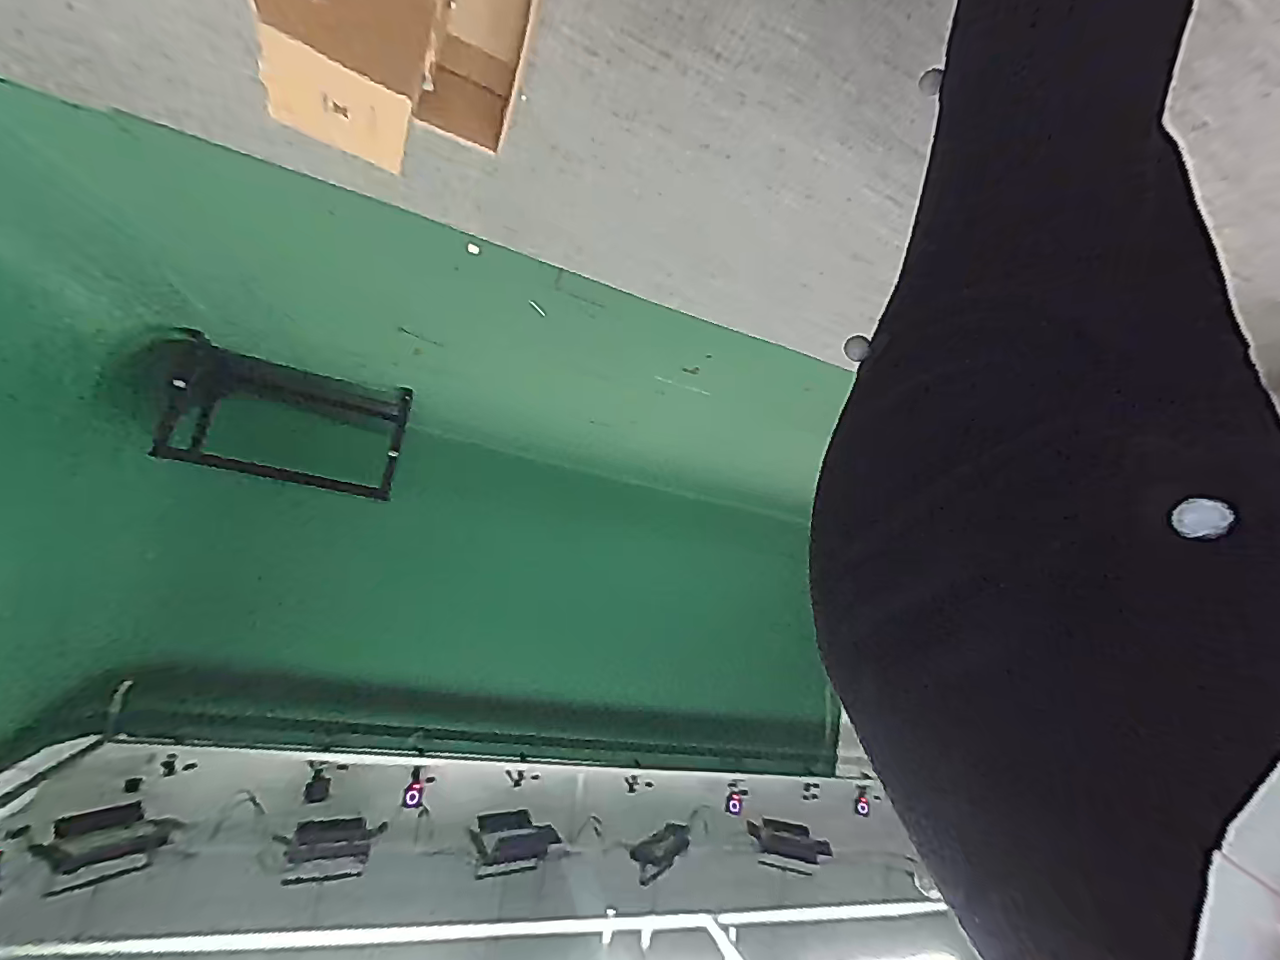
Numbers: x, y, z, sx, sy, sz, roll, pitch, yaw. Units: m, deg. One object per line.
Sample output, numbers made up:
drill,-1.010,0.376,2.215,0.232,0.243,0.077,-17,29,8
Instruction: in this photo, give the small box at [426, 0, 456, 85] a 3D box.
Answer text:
small box,-0.365,-0.746,0.788,0.179,0.176,0.168,13,166,-24

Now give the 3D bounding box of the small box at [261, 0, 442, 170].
small box,-0.393,-0.589,0.750,0.179,0.176,0.168,15,166,-28
